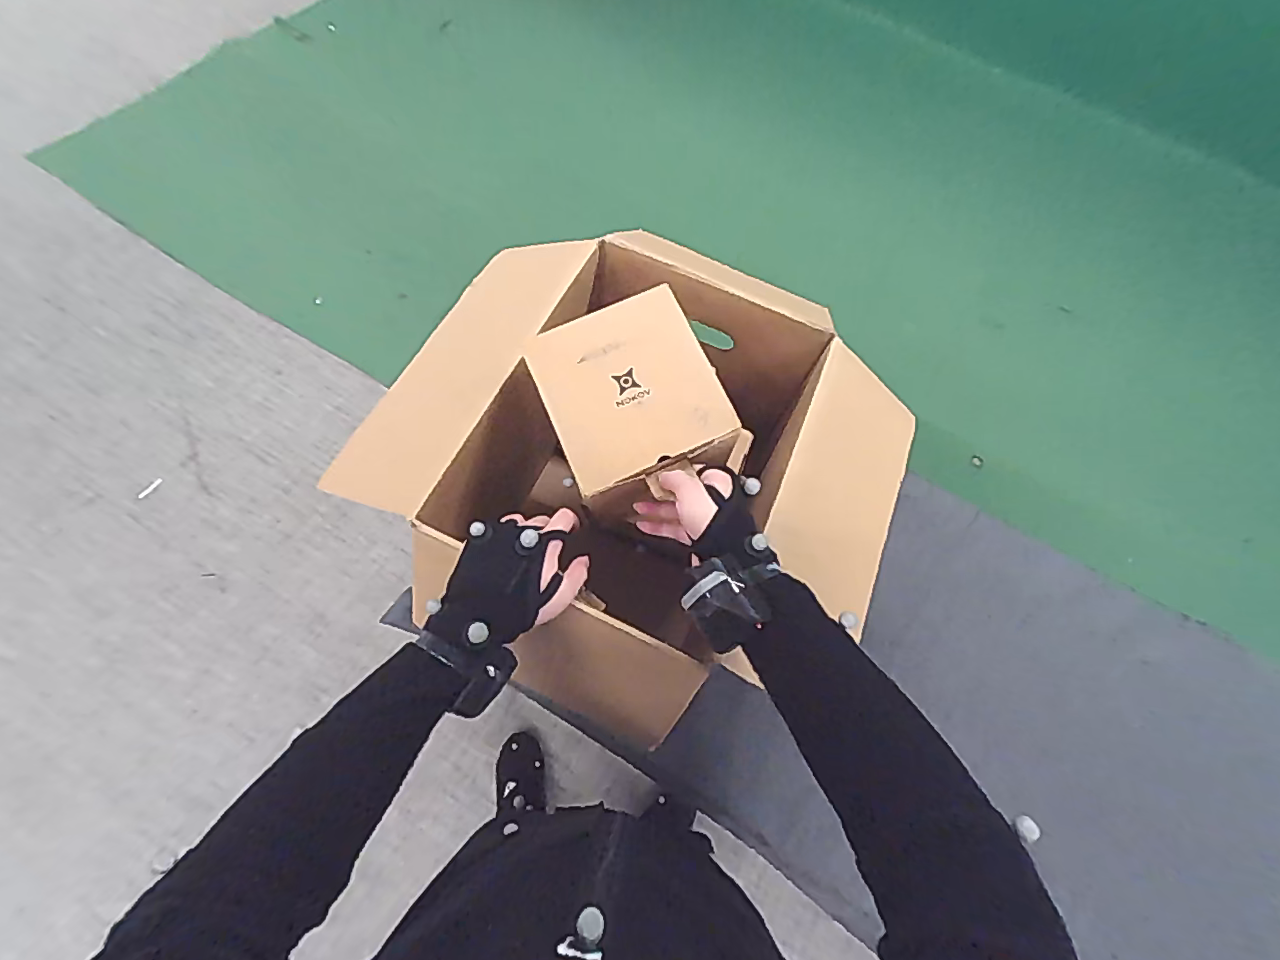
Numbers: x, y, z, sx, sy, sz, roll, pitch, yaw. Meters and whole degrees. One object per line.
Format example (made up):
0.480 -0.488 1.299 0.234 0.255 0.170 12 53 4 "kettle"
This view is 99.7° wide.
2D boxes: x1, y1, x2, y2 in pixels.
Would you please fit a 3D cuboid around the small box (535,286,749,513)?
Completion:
0.003 -0.074 0.610 0.168 0.176 0.179 -23 75 -5 "small box"
